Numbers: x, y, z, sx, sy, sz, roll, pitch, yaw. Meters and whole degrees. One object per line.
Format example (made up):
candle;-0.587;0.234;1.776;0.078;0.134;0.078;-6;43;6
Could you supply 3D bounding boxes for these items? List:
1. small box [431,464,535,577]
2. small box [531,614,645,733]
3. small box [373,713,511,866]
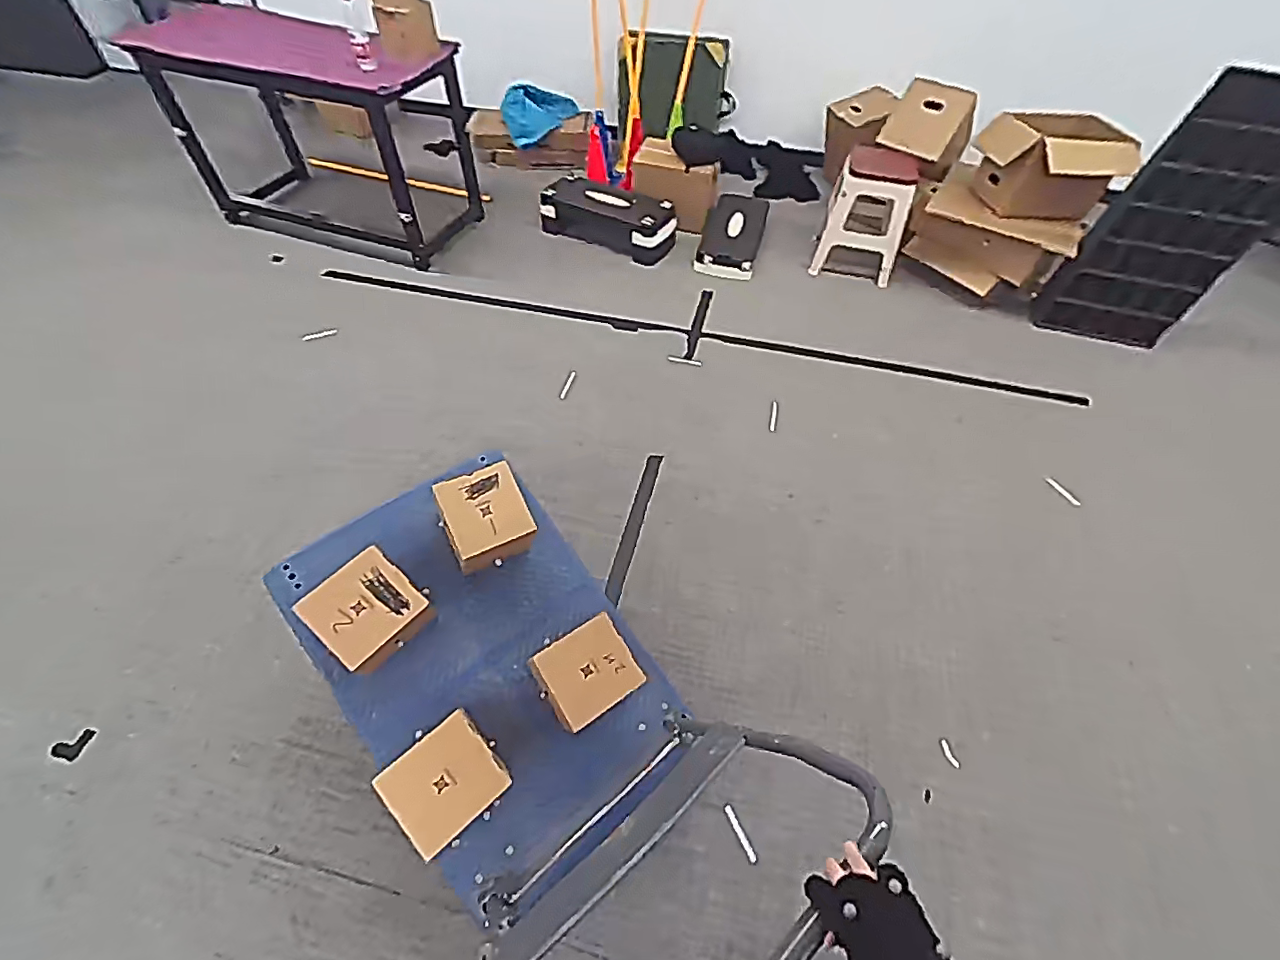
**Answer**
small box;-0.352;0.094;1.209;0.168;0.176;0.179;-23;77;-23
small box;-0.120;0.410;1.145;0.179;0.176;0.168;-29;79;-24
small box;-0.362;0.565;1.010;0.179;0.176;0.168;-37;82;-28
